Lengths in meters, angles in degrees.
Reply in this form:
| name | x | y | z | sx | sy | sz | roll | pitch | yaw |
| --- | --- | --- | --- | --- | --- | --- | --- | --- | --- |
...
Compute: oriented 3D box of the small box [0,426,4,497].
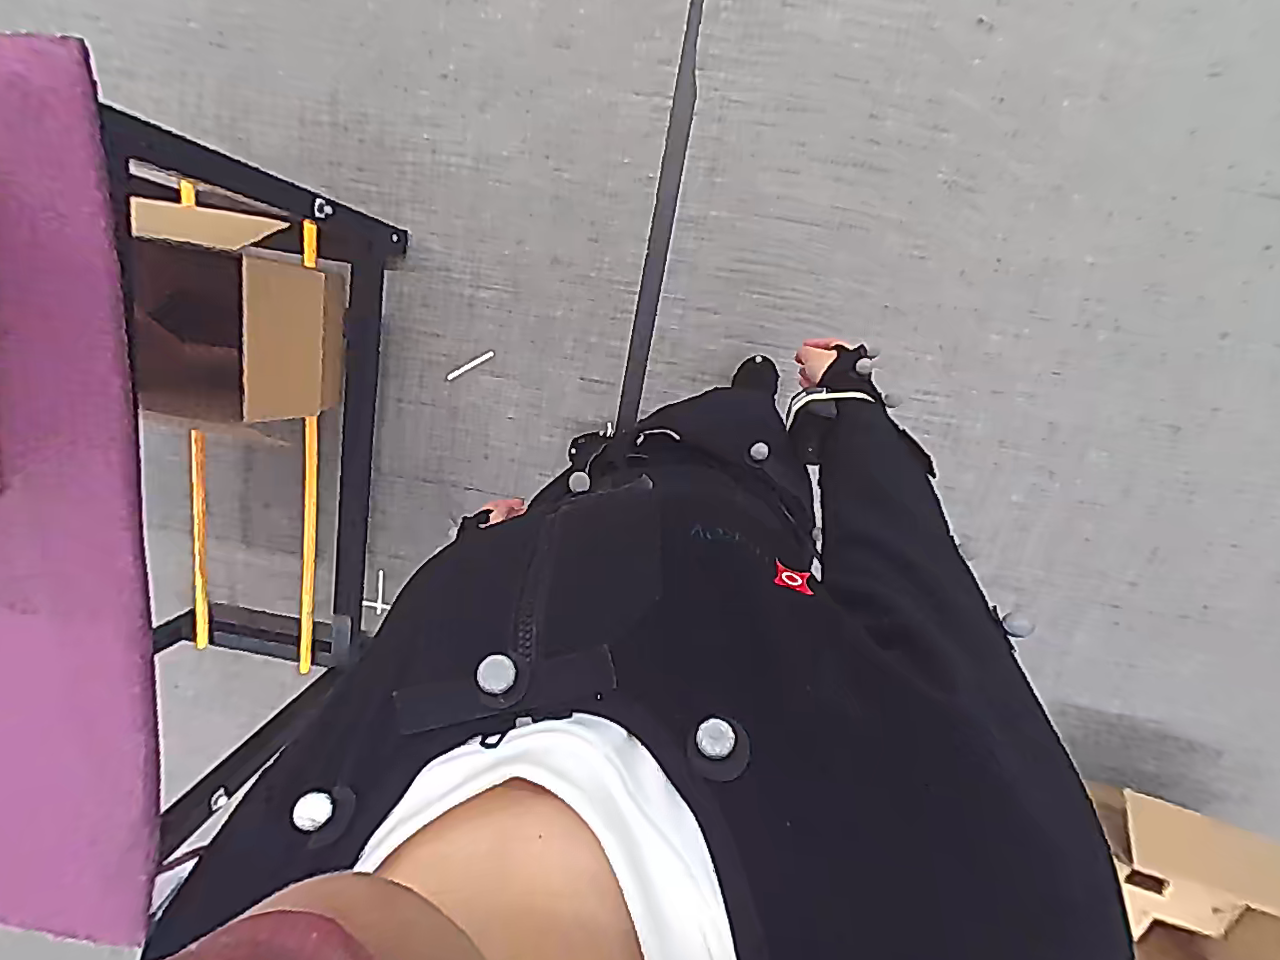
| name | x | y | z | sx | sy | sz | roll | pitch | yaw |
| --- | --- | --- | --- | --- | --- | --- | --- | --- | --- |
| small box | -0.915 | -0.059 | 0.624 | 0.168 | 0.176 | 0.179 | 12 | 104 | 4 |
